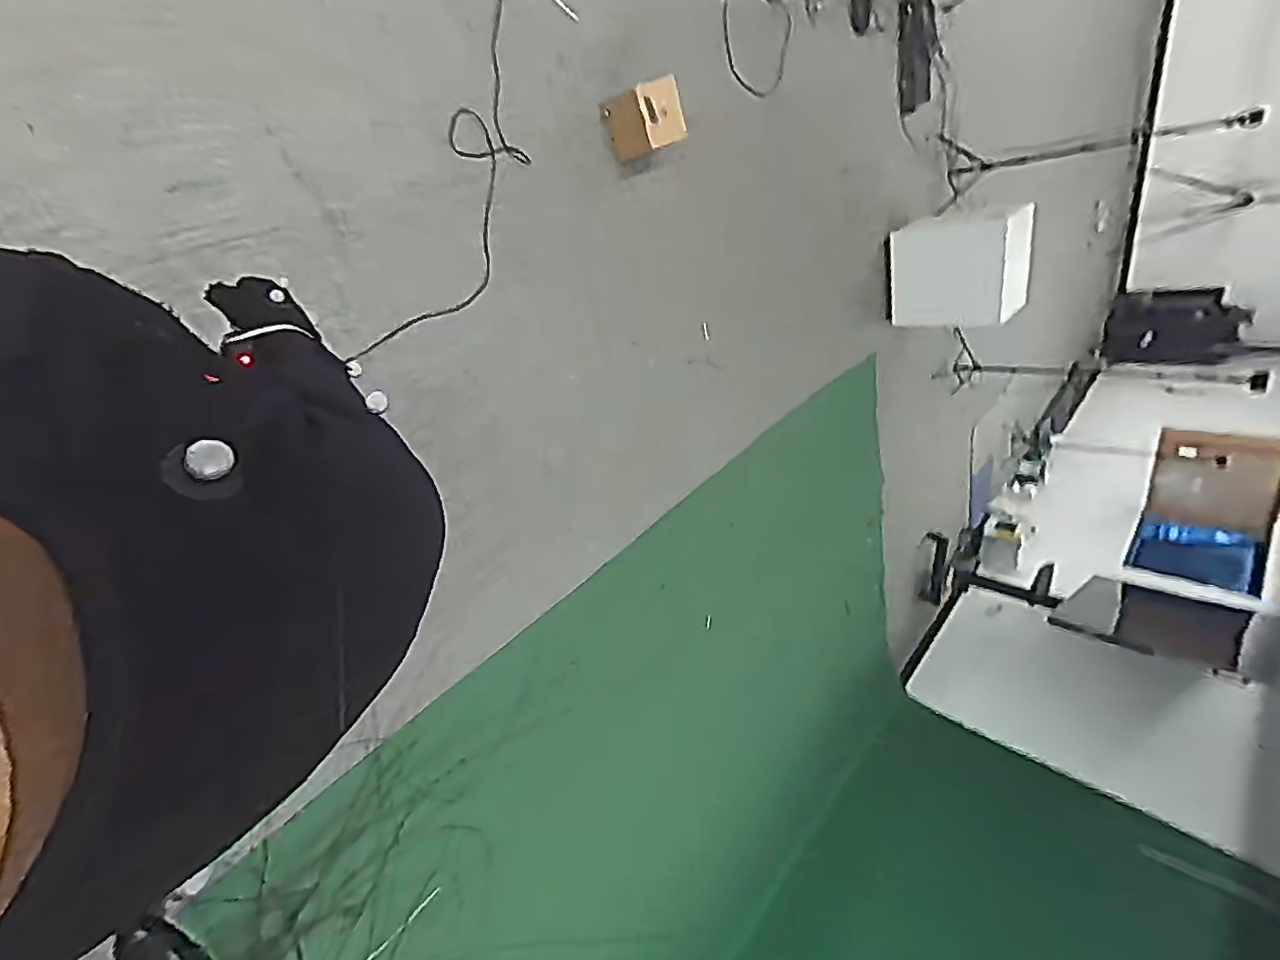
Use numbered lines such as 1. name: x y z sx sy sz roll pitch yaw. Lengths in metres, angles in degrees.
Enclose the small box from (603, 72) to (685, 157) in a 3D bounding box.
1. small box: 0.005 -1.130 1.680 0.179 0.176 0.168 -40 127 -29
